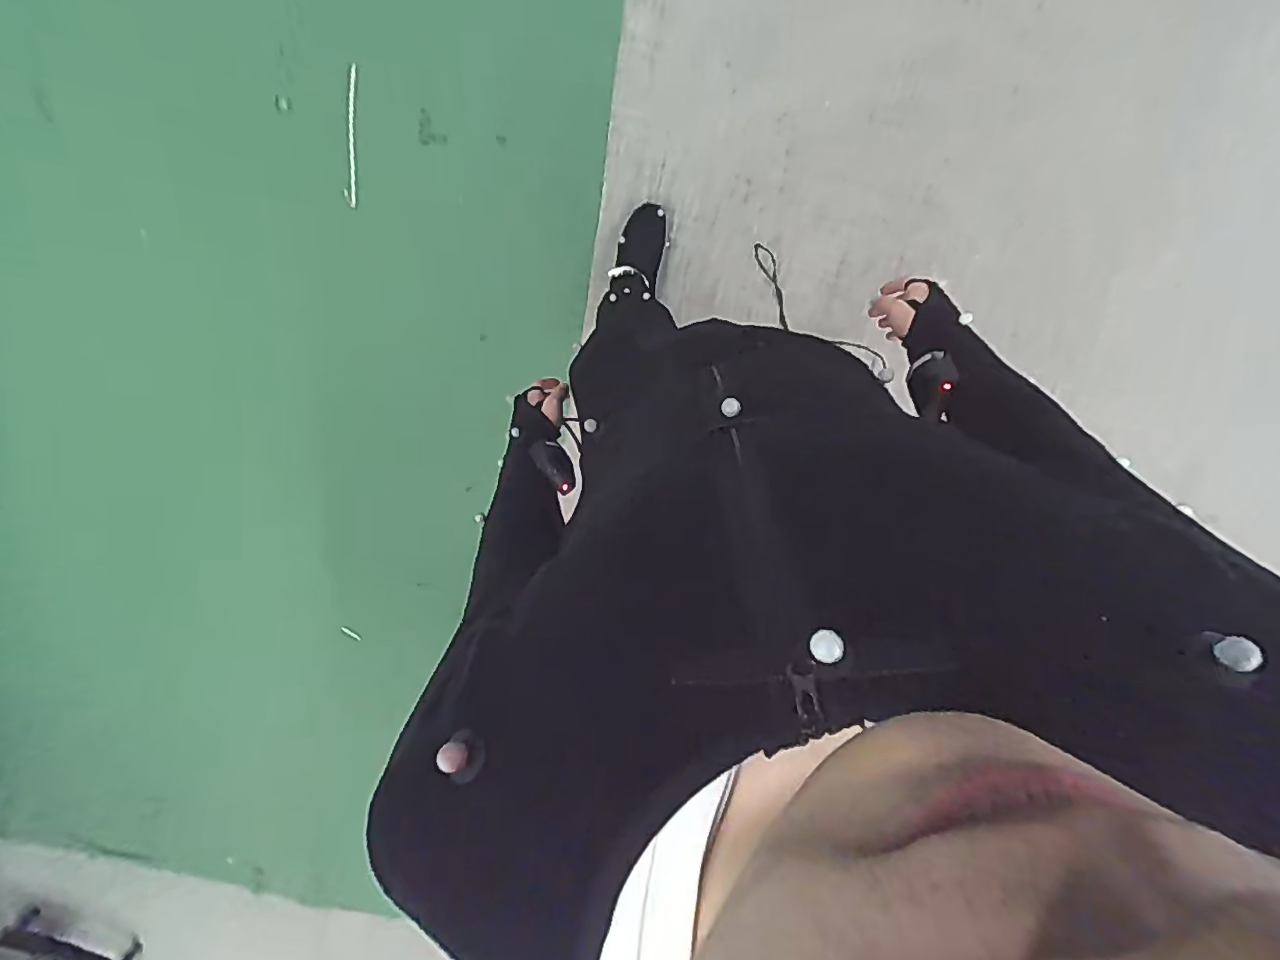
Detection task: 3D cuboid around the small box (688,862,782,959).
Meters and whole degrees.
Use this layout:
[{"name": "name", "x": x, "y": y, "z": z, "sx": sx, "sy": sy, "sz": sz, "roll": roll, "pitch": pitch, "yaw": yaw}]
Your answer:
[{"name": "small box", "x": 0.206, "y": 1.012, "z": 1.218, "sx": 0.168, "sy": 0.176, "sz": 0.179, "roll": 11, "pitch": 112, "yaw": -1}]
